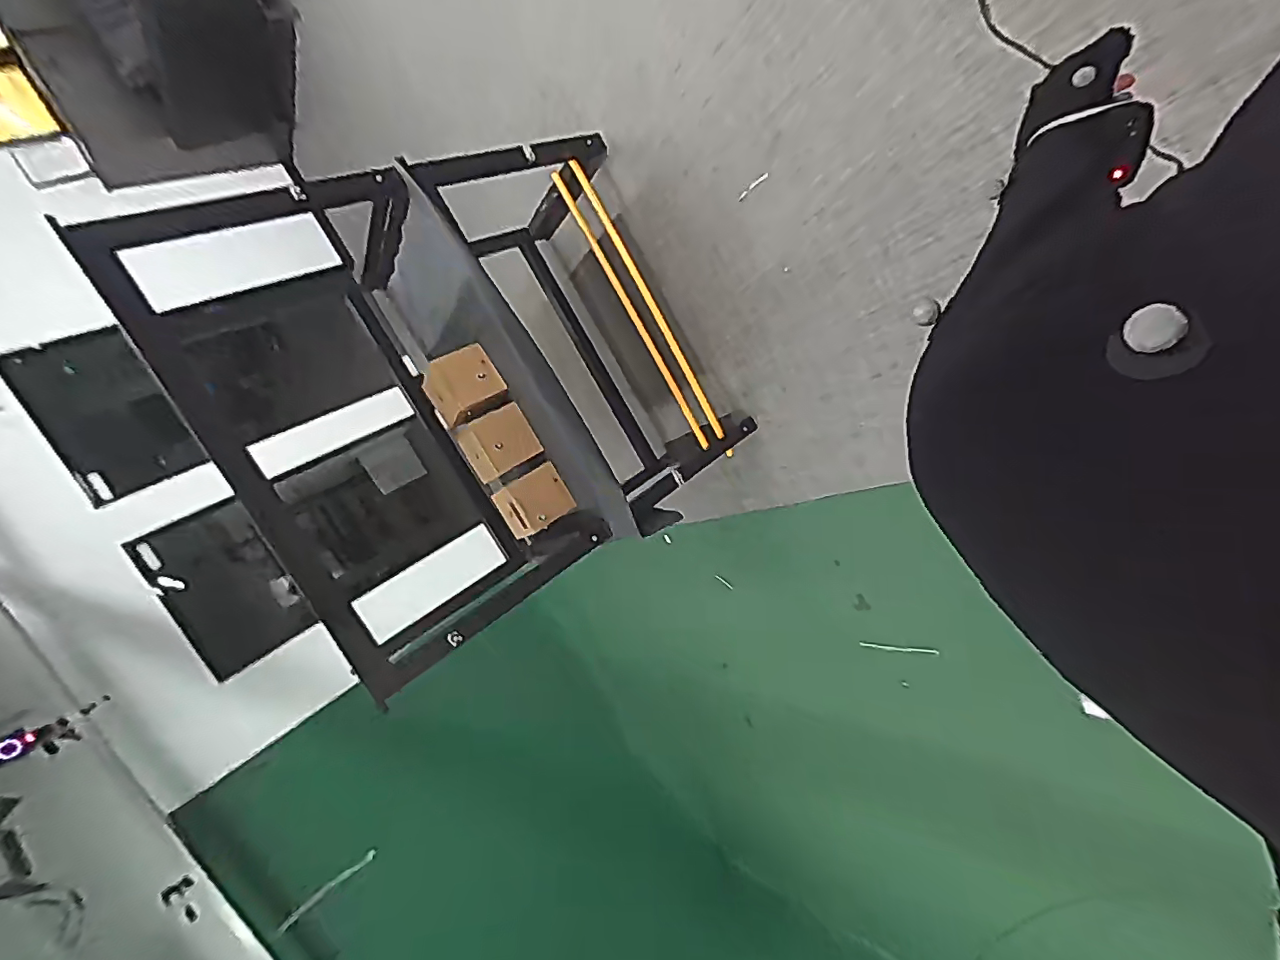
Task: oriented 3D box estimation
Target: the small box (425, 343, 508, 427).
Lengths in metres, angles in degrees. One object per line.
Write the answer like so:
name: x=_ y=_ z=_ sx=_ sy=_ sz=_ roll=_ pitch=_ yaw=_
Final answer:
small box: x=-0.532 y=-0.292 z=1.664 sx=0.168 sy=0.176 sz=0.179 roll=56 pitch=147 yaw=-2
